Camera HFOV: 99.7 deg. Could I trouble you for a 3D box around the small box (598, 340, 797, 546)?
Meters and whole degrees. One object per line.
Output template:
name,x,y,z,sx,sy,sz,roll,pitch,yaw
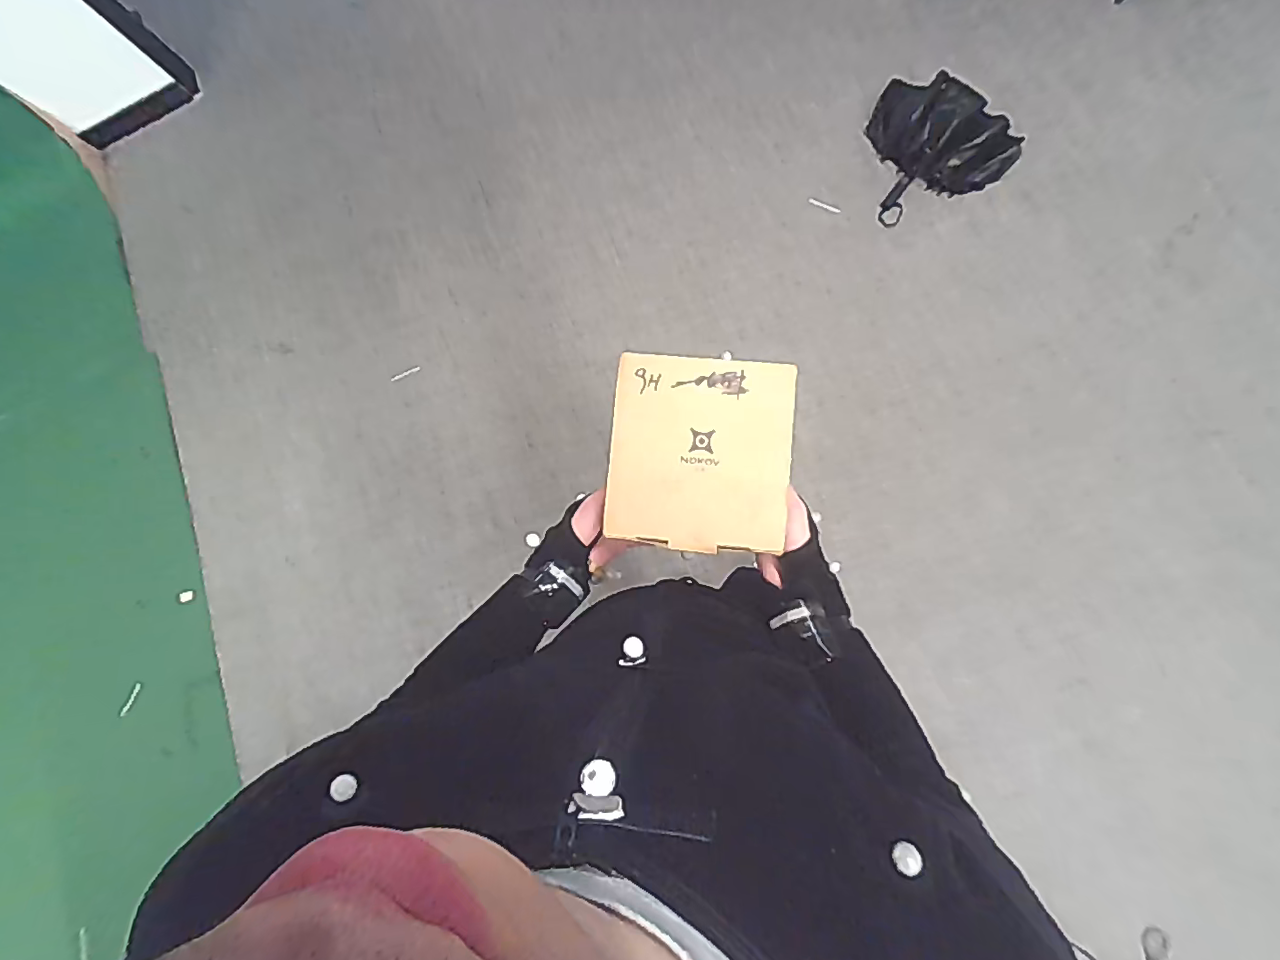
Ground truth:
small box,0.056,-0.030,0.564,0.168,0.176,0.179,5,86,3
